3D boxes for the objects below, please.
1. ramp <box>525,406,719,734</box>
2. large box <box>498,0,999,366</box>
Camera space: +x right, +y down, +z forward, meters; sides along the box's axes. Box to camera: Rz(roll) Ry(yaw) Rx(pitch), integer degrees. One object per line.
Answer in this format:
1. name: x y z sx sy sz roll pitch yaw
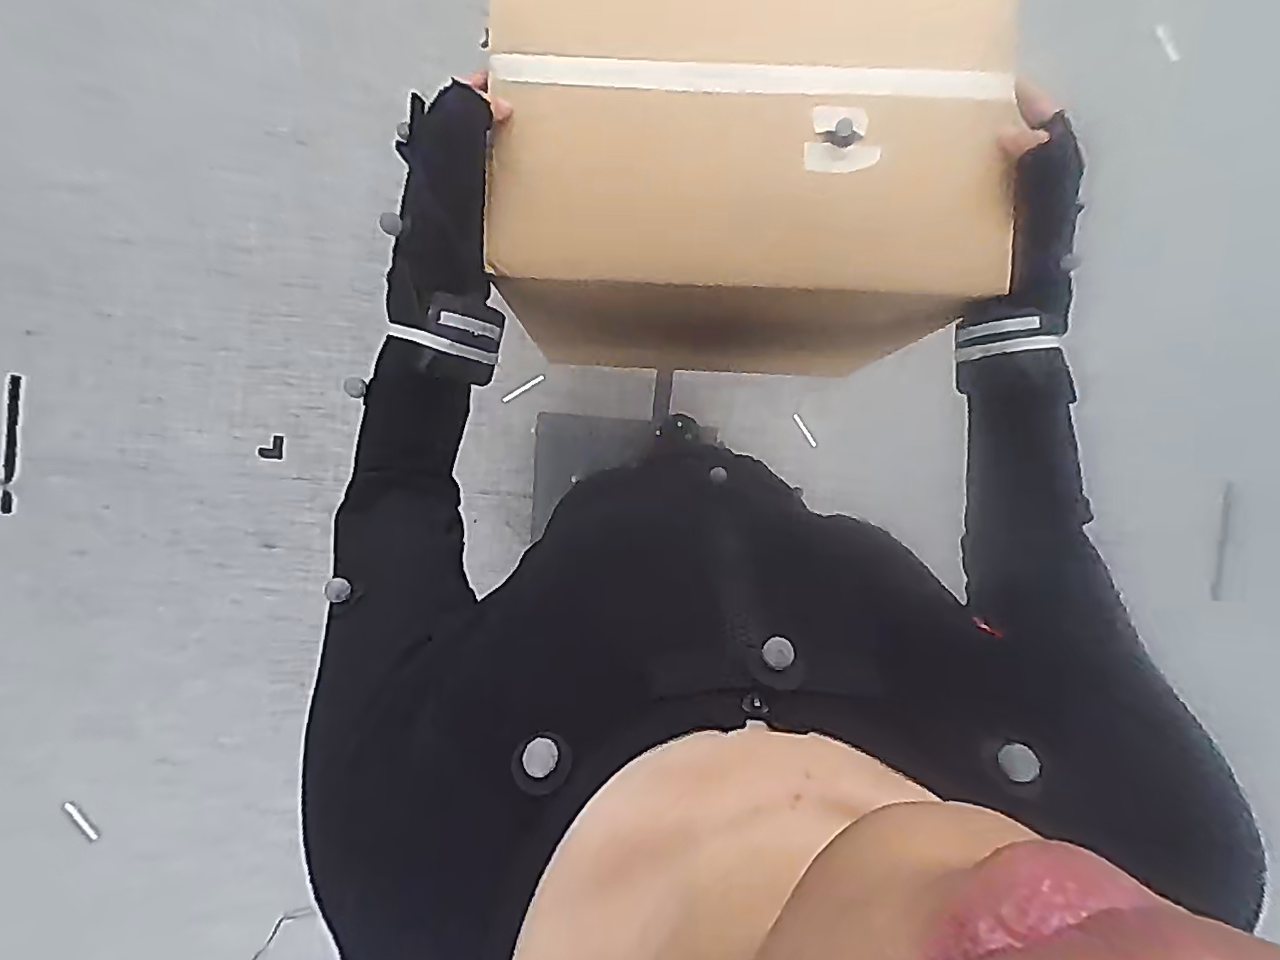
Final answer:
1. ramp: -0.070 0.299 1.575 0.509 0.206 0.991 3 94 -4
2. large box: 0.083 -0.310 0.580 0.408 0.320 0.320 2 90 -1
